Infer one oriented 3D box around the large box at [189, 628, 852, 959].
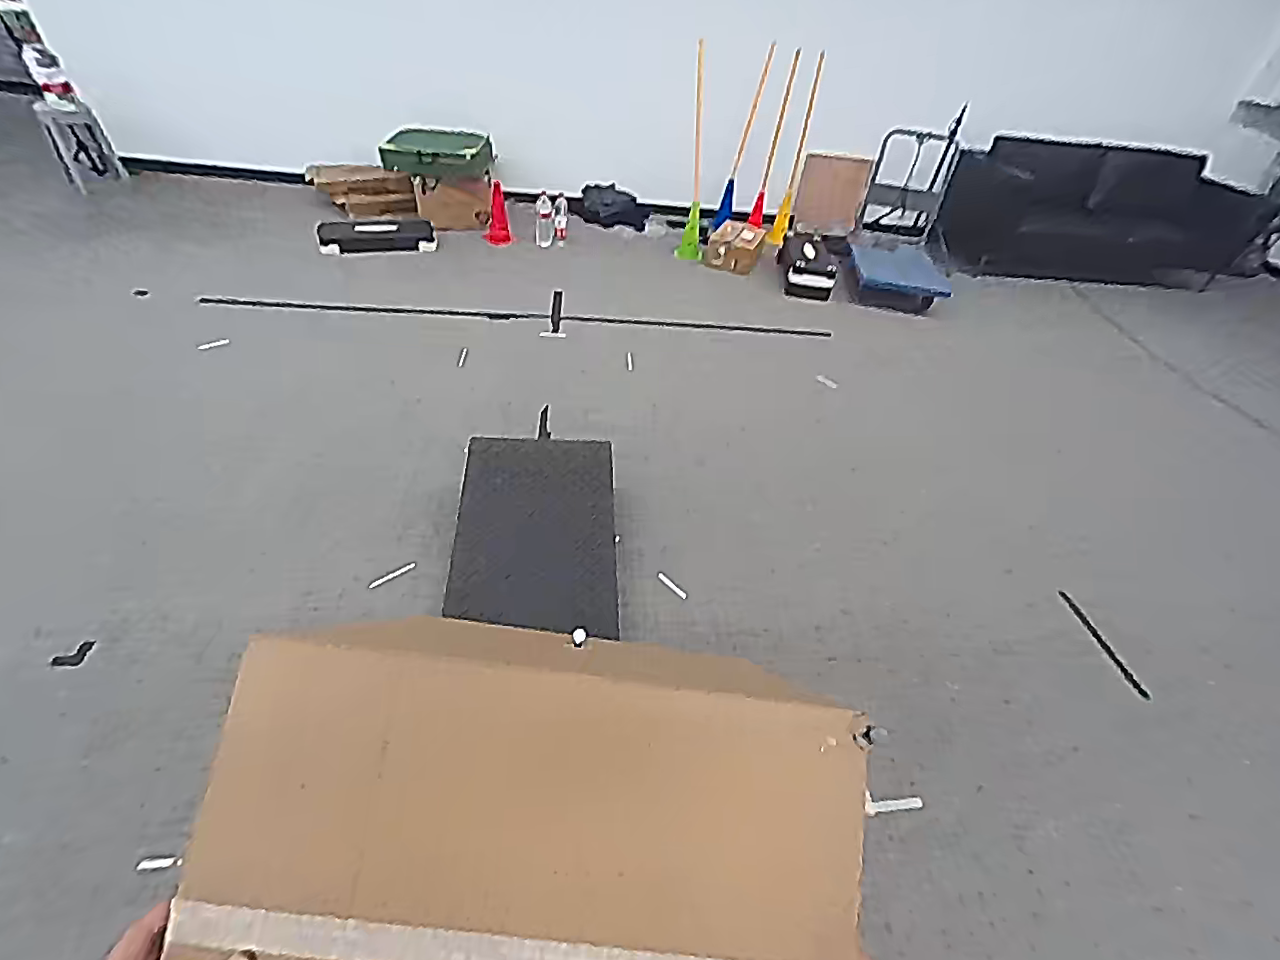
[{"bbox_3d":[-0.078,0.313,0.478,0.408,0.320,0.320,8,79,-3],"label":"large box"}]
